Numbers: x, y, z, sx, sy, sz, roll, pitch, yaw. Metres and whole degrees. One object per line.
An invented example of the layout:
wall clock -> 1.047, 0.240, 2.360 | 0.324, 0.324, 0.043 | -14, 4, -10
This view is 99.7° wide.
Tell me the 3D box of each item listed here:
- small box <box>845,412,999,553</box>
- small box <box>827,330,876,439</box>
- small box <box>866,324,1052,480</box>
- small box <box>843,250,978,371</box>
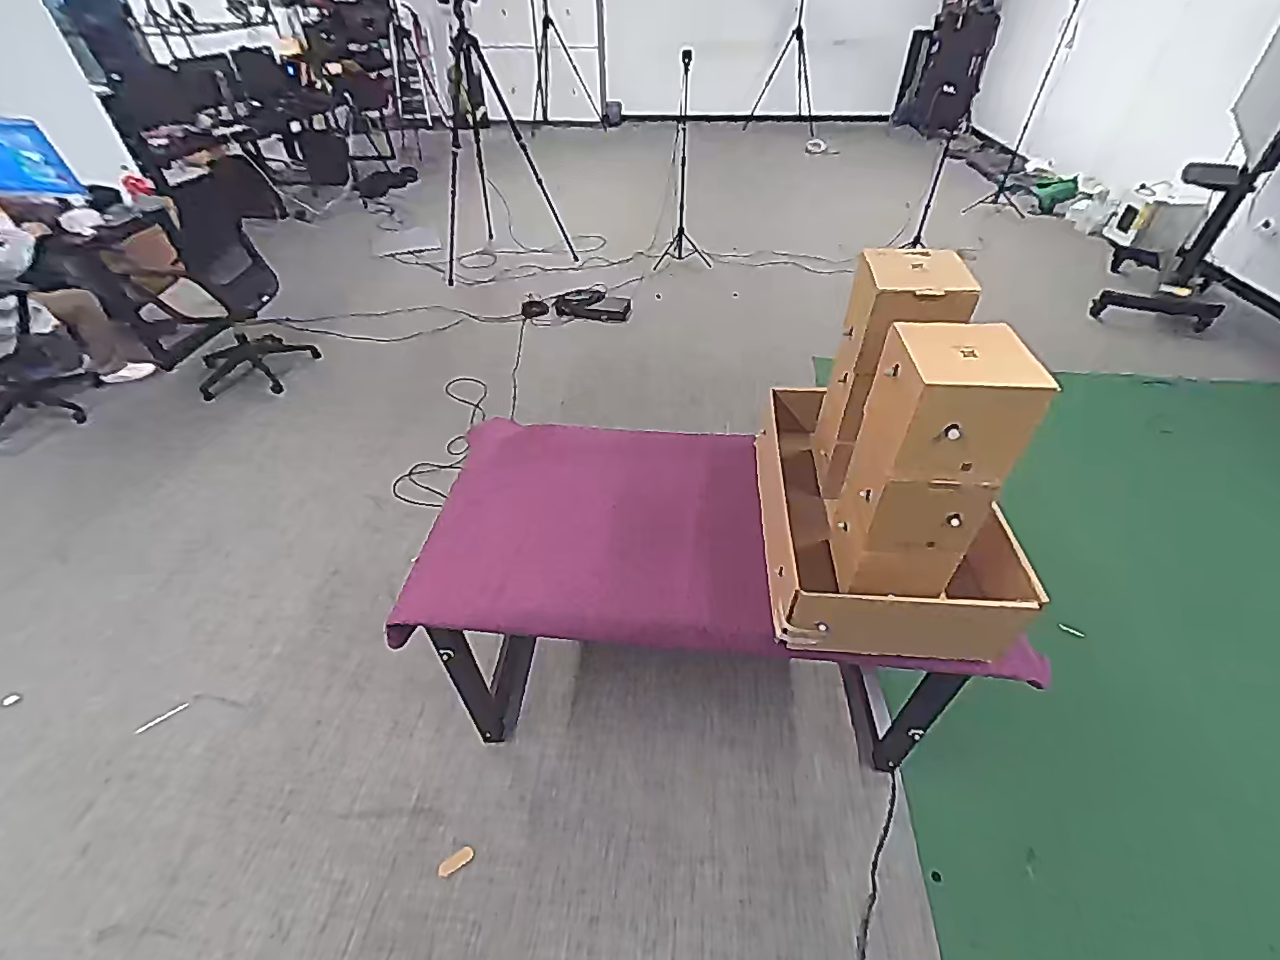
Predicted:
small box -> 0.458, 0.005, 0.910 | 0.168, 0.176, 0.179 | 3, 42, 6
small box -> 0.493, -0.192, 1.117 | 0.168, 0.176, 0.179 | 5, 44, 6
small box -> 0.453, -0.116, 0.803 | 0.168, 0.176, 0.179 | 3, 42, 5
small box -> 0.486, -0.308, 1.003 | 0.168, 0.176, 0.179 | 4, 46, 7
